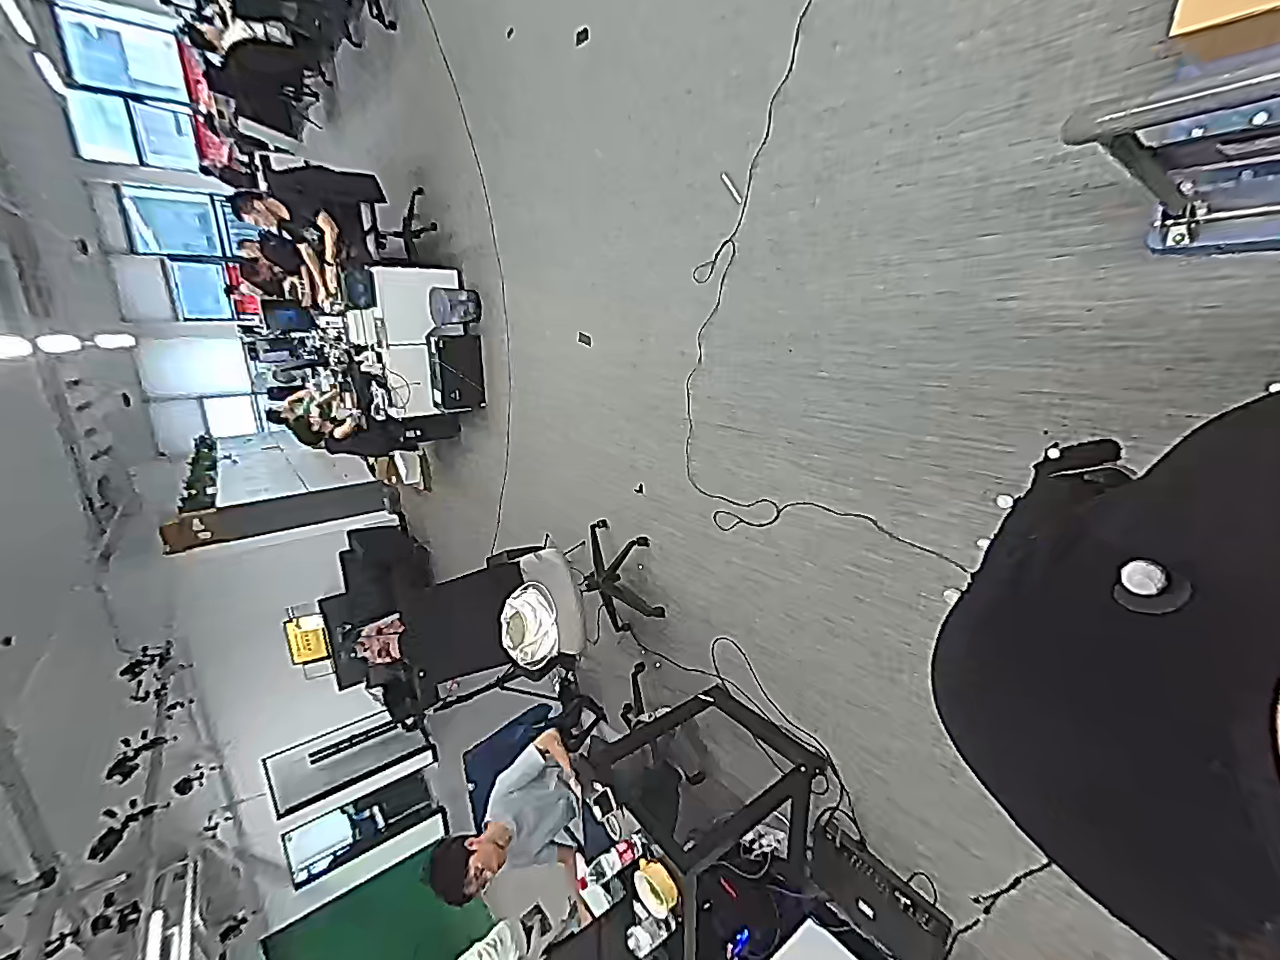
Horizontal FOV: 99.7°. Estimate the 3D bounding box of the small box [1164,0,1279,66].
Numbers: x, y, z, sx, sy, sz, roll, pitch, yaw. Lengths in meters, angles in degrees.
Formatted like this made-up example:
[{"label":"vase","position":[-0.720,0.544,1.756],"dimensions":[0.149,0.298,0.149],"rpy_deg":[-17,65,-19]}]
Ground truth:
[{"label":"small box","position":[0.883,-0.716,0.752],"dimensions":[0.179,0.176,0.168],"rpy_deg":[20,115,47]}]
